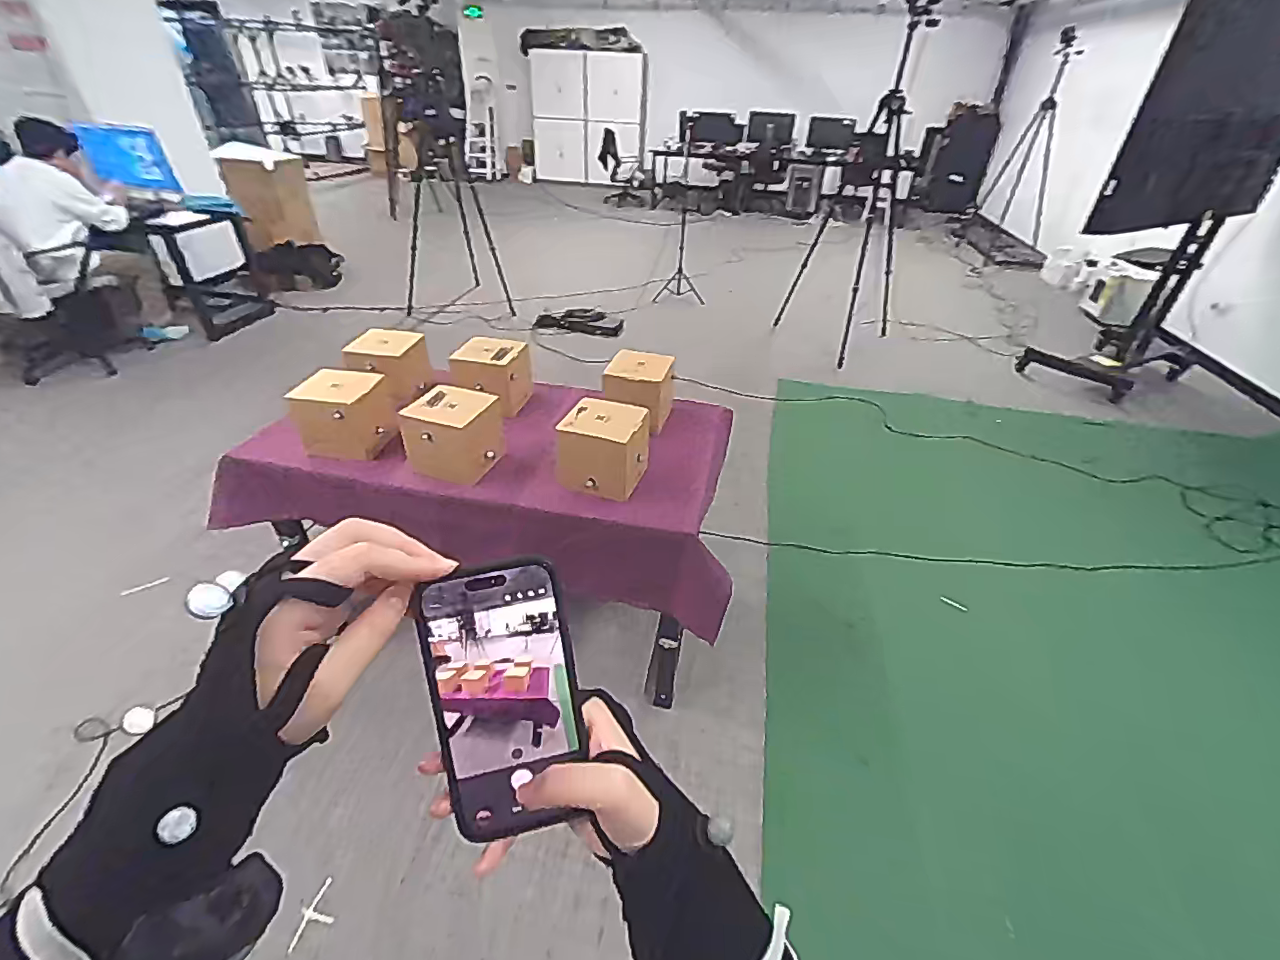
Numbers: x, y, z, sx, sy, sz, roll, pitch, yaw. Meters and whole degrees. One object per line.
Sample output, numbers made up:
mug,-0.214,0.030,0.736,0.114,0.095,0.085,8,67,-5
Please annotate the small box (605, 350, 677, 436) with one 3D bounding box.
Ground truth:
small box,0.001,-0.251,1.550,0.168,0.176,0.179,11,38,12

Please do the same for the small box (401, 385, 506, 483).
small box,-0.451,-0.112,1.335,0.179,0.176,0.168,14,38,13

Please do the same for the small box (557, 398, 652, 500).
small box,-0.083,-0.073,1.305,0.179,0.176,0.168,14,37,14

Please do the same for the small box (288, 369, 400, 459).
small box,-0.753,-0.170,1.395,0.179,0.176,0.168,7,36,3
